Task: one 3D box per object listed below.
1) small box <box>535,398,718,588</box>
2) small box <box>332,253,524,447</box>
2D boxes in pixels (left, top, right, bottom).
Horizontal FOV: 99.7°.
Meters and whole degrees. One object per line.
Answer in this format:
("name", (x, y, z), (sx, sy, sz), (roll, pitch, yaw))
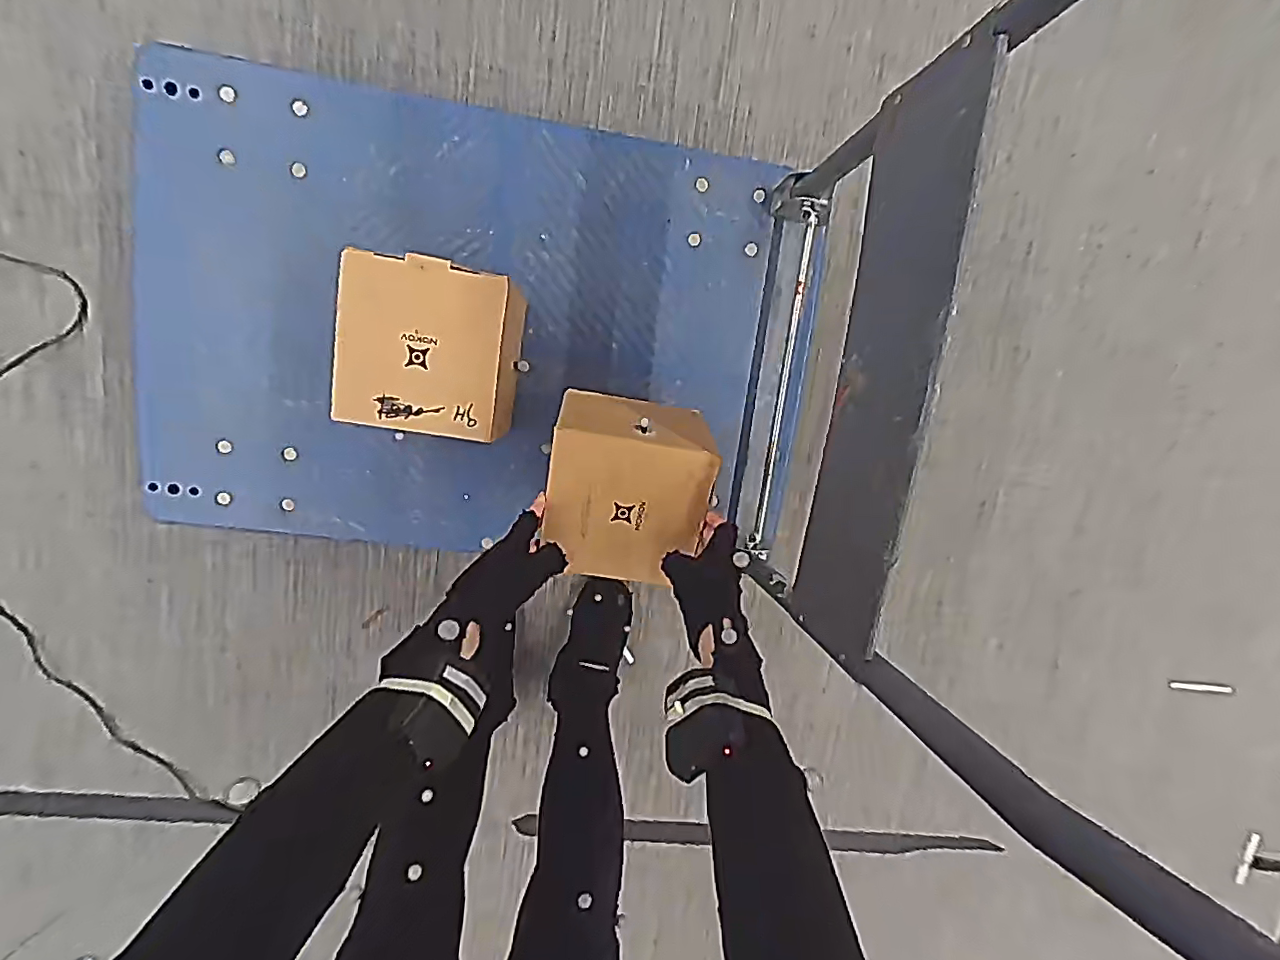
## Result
("small box", (-0.022, 0.008, 0.656), (0.179, 0.176, 0.168), (9, 111, -6))
("small box", (-0.236, -0.143, 0.643), (0.168, 0.176, 0.179), (9, 97, -7))
